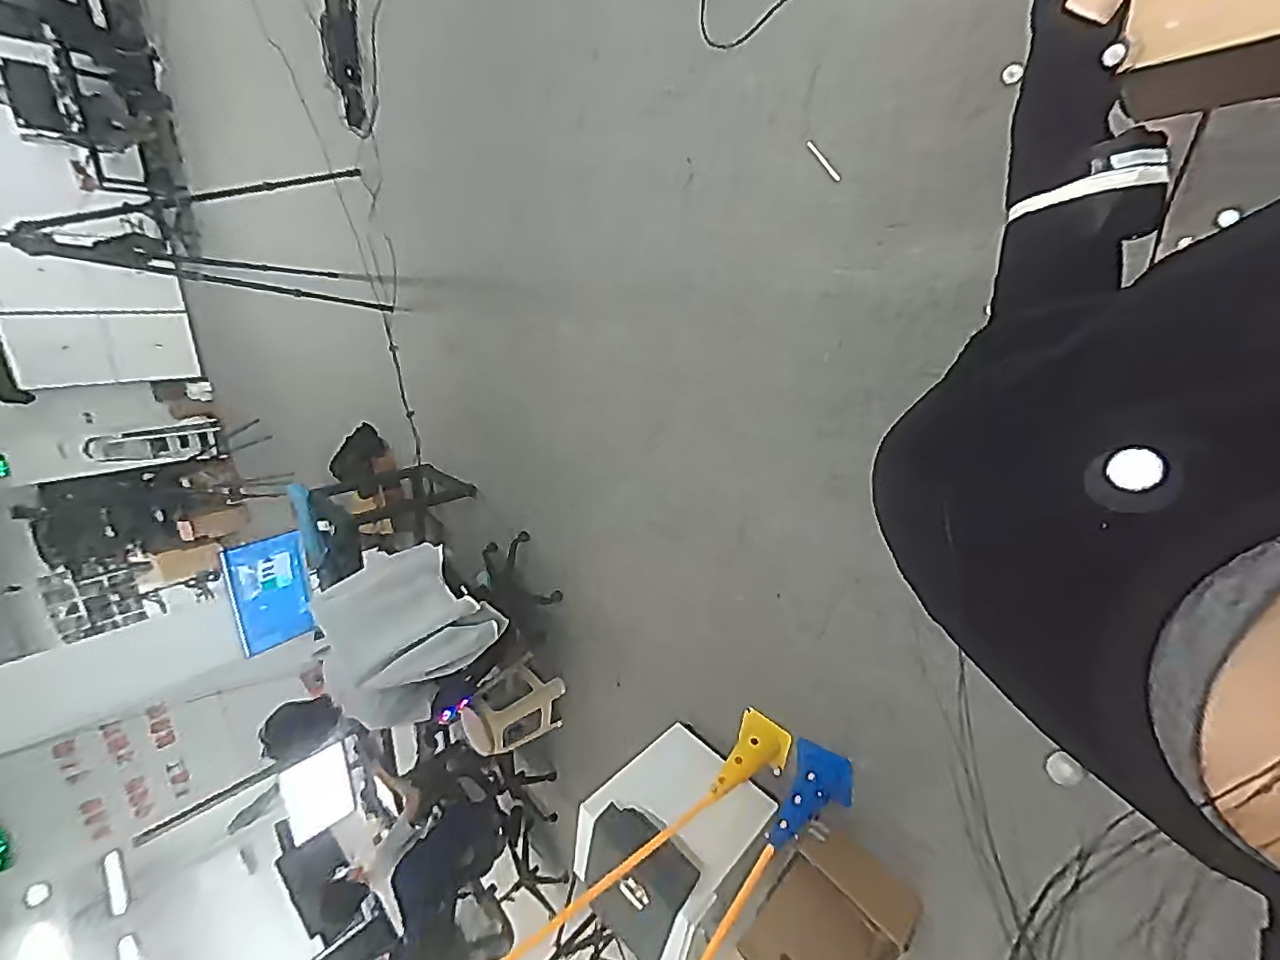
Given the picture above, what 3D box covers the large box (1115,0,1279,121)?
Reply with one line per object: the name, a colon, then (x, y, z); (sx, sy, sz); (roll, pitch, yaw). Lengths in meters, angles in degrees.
large box: (0.564, -0.439, 0.298); (0.408, 0.320, 0.320); (13, 117, 40)
